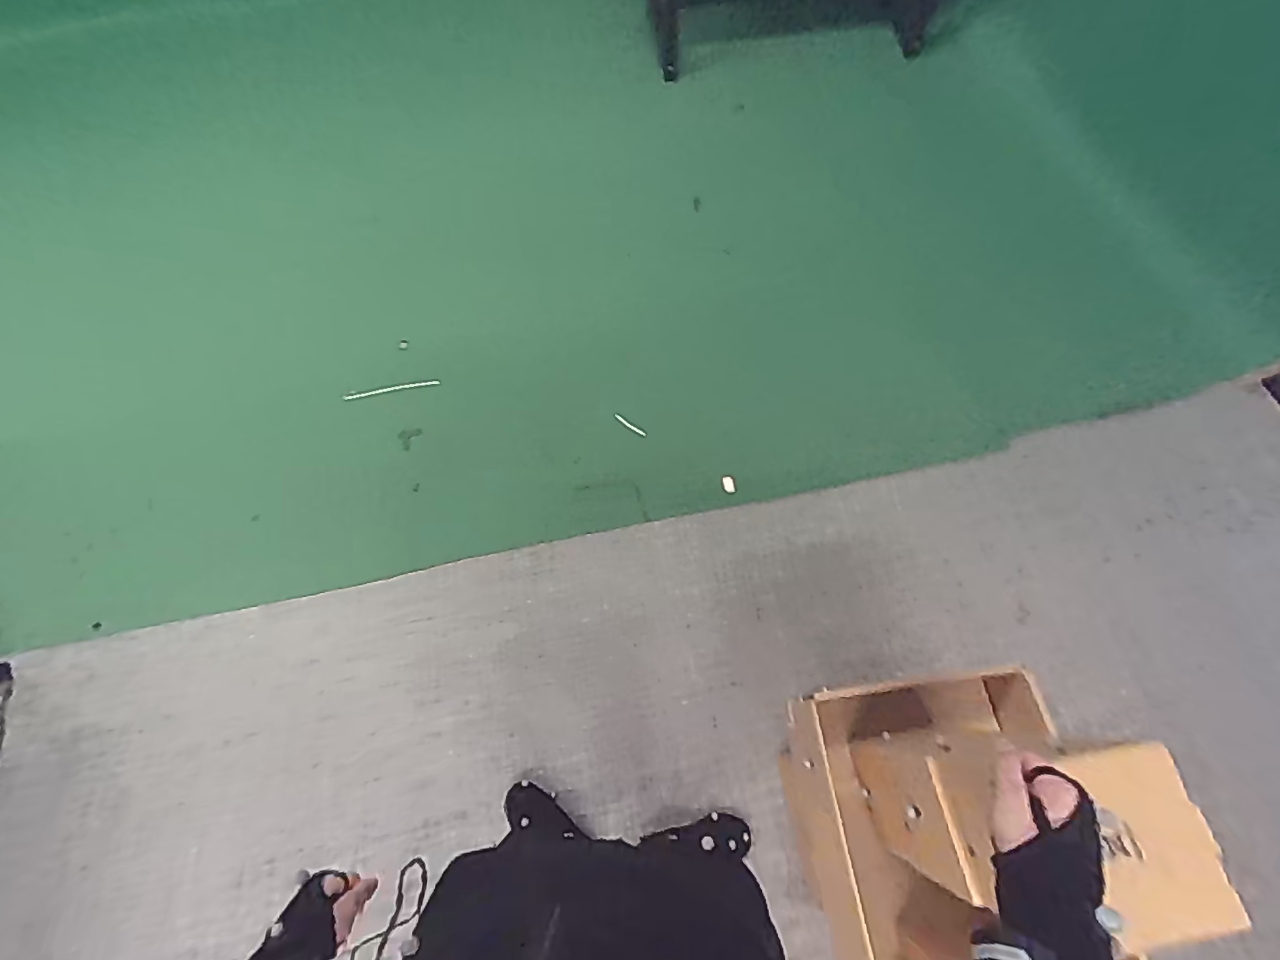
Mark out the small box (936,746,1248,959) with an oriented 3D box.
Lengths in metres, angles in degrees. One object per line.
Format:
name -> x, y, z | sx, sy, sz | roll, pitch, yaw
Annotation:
small box -> 0.481, 0.405, 0.611 | 0.179, 0.176, 0.168 | -9, 66, -2

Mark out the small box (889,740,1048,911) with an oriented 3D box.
small box -> 0.476, 0.470, 0.762 | 0.179, 0.176, 0.168 | -8, 67, -1
